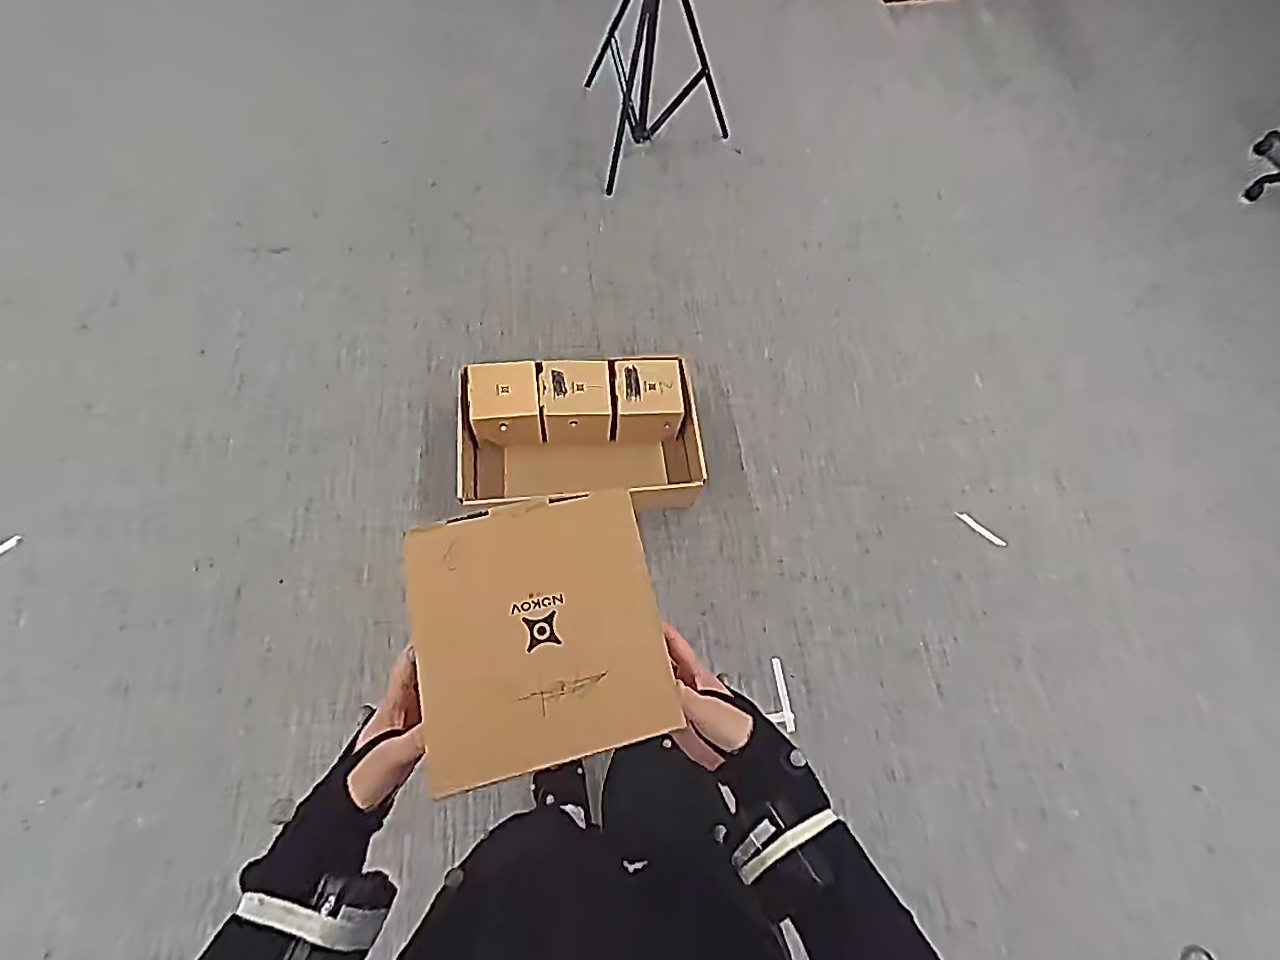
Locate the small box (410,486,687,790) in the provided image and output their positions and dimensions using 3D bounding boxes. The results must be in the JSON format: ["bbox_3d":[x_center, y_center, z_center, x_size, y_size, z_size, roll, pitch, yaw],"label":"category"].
[{"bbox_3d":[-0.077,0.124,0.444,0.168,0.176,0.179,-11,72,-12],"label":"small box"}]
